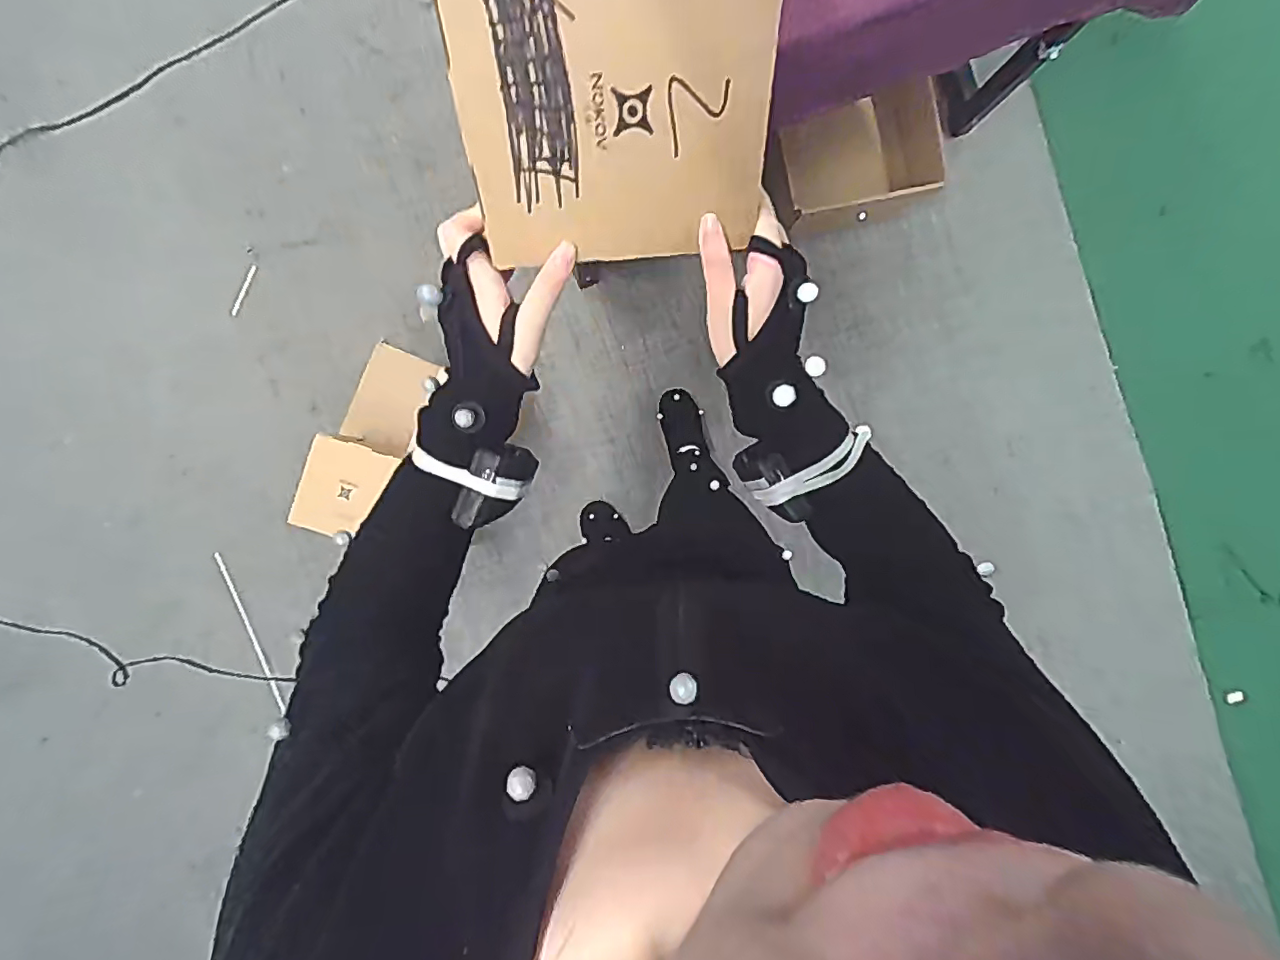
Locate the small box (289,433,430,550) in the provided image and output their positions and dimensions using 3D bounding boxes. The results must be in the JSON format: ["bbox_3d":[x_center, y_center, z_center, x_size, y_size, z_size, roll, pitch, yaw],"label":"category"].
[{"bbox_3d":[-0.535,0.019,1.060,0.168,0.176,0.179,19,91,-2],"label":"small box"}]

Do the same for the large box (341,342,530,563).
[{"bbox_3d":[-0.498,-0.057,1.307,0.320,0.320,0.408,23,90,-5],"label":"large box"}]
